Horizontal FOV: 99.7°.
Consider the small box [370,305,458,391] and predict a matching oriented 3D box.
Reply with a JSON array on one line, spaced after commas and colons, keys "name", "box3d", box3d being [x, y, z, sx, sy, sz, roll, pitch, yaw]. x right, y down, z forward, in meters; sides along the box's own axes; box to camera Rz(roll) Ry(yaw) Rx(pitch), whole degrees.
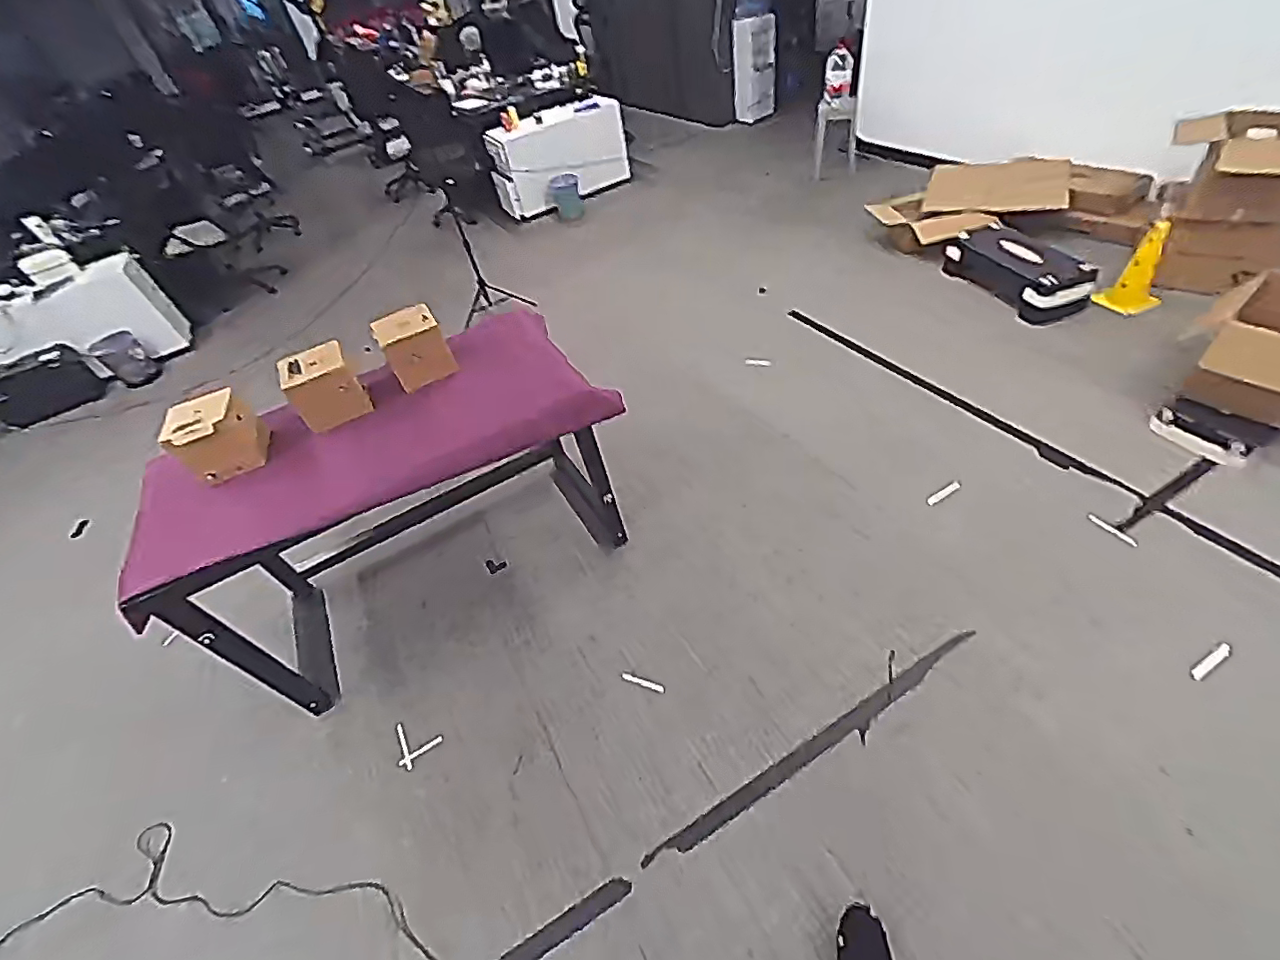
[{"name": "small box", "box3d": [-0.690, -0.401, 1.658, 0.179, 0.176, 0.168, -28, 50, -12]}]

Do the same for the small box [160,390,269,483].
[{"name": "small box", "box3d": [-1.166, -0.113, 1.498, 0.168, 0.176, 0.179, -23, 47, -10]}]
